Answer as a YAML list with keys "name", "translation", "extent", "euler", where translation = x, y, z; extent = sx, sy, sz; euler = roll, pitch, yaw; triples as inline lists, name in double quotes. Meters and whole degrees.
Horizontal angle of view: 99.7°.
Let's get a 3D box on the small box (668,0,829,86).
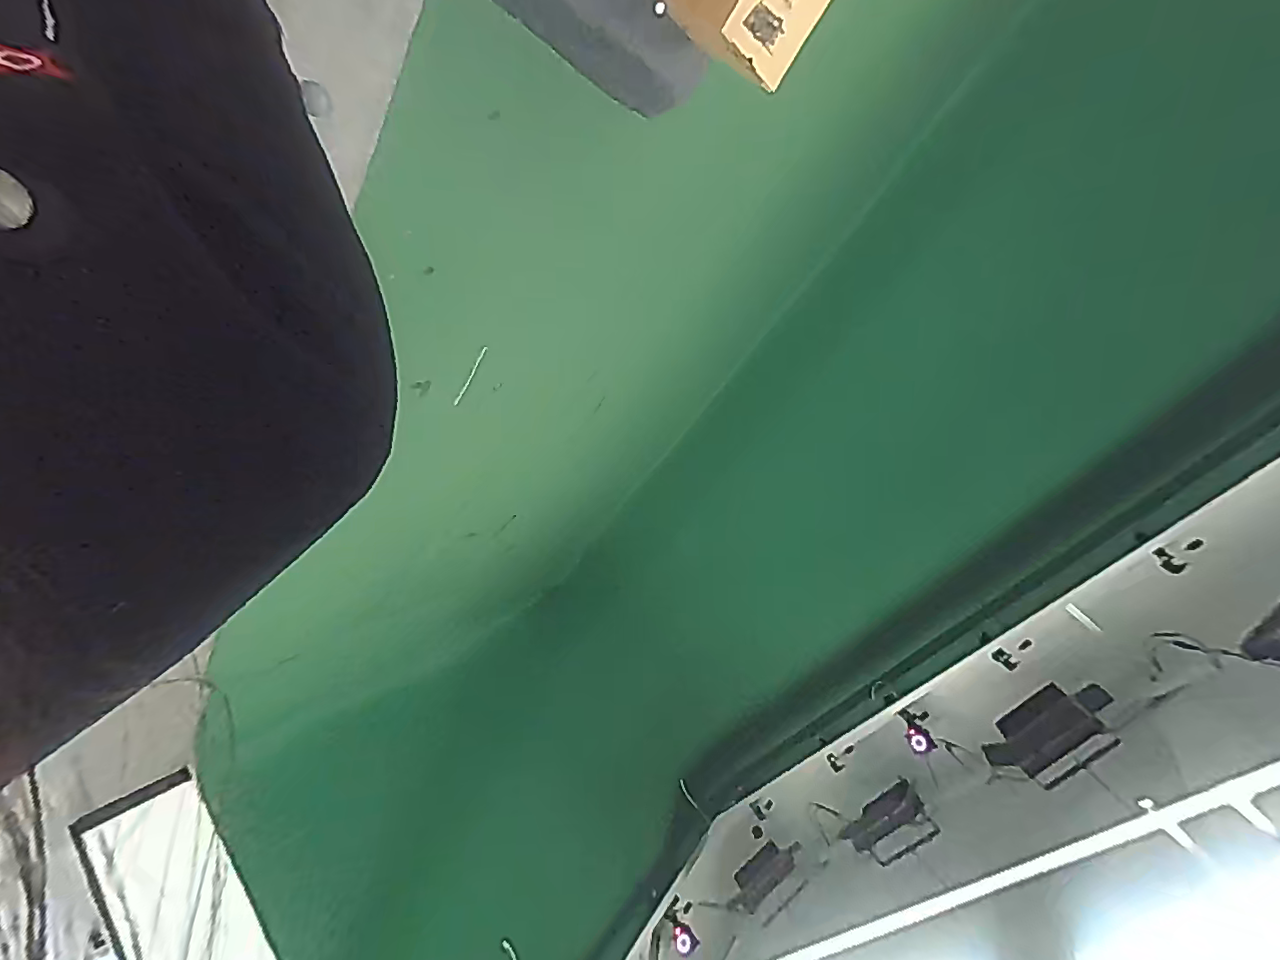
- name: "small box"
  translation: [0.140, -0.674, 0.701]
  extent: [0.168, 0.176, 0.179]
  euler: [-12, 144, -55]
